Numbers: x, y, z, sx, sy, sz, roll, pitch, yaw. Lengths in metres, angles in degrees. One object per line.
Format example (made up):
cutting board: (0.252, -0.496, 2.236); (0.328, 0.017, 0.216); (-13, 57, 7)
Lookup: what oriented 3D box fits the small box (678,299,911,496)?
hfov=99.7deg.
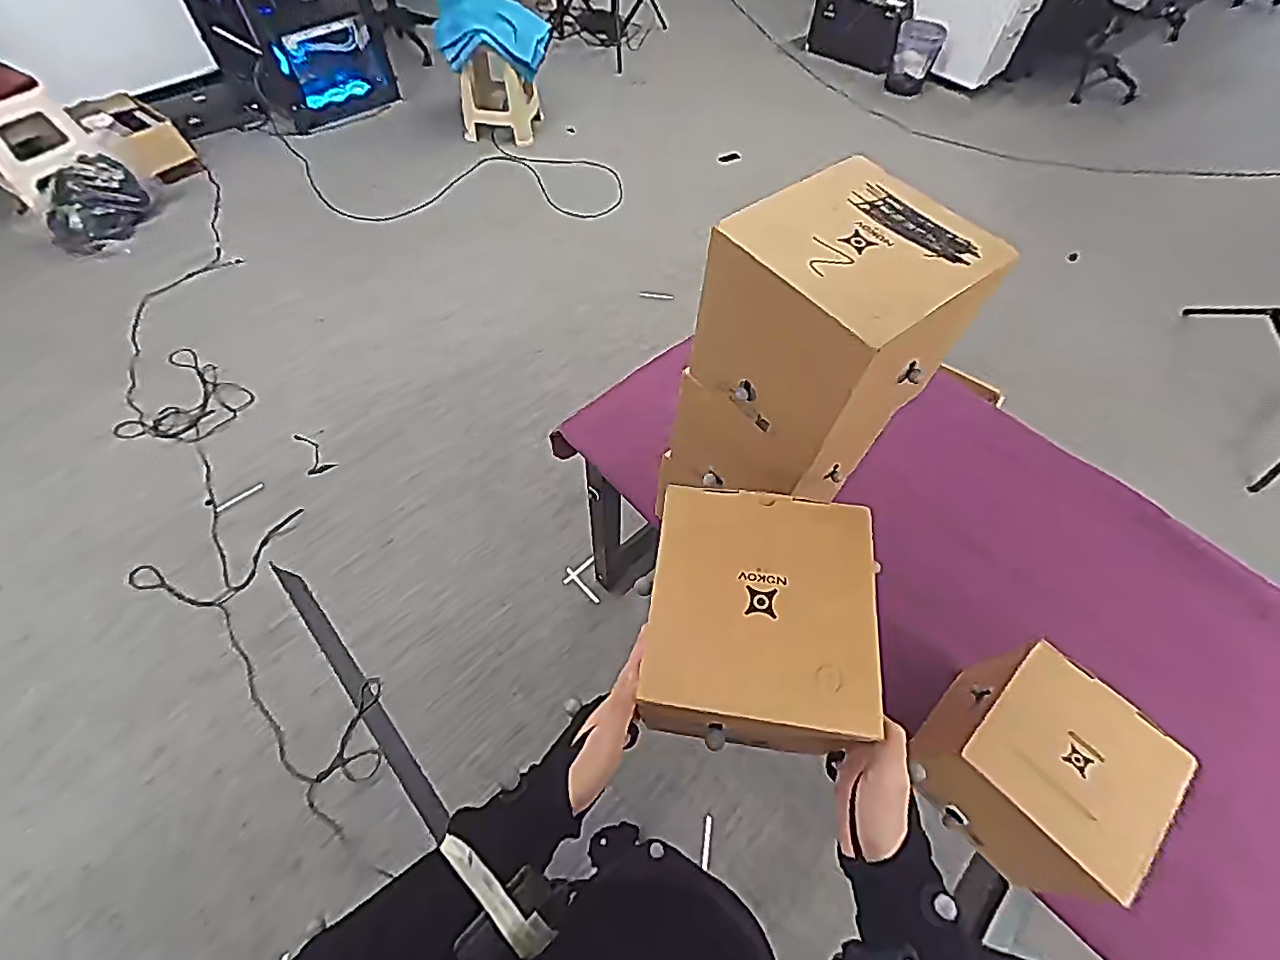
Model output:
small box: (0.160, -0.066, 0.624); (0.179, 0.176, 0.168); (-35, 66, -20)

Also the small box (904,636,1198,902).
small box: (0.431, 0.310, 0.598); (0.179, 0.176, 0.168); (-38, 66, -21)

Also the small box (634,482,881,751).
small box: (0.095, 0.124, 0.468); (0.168, 0.176, 0.179); (6, 59, 7)
